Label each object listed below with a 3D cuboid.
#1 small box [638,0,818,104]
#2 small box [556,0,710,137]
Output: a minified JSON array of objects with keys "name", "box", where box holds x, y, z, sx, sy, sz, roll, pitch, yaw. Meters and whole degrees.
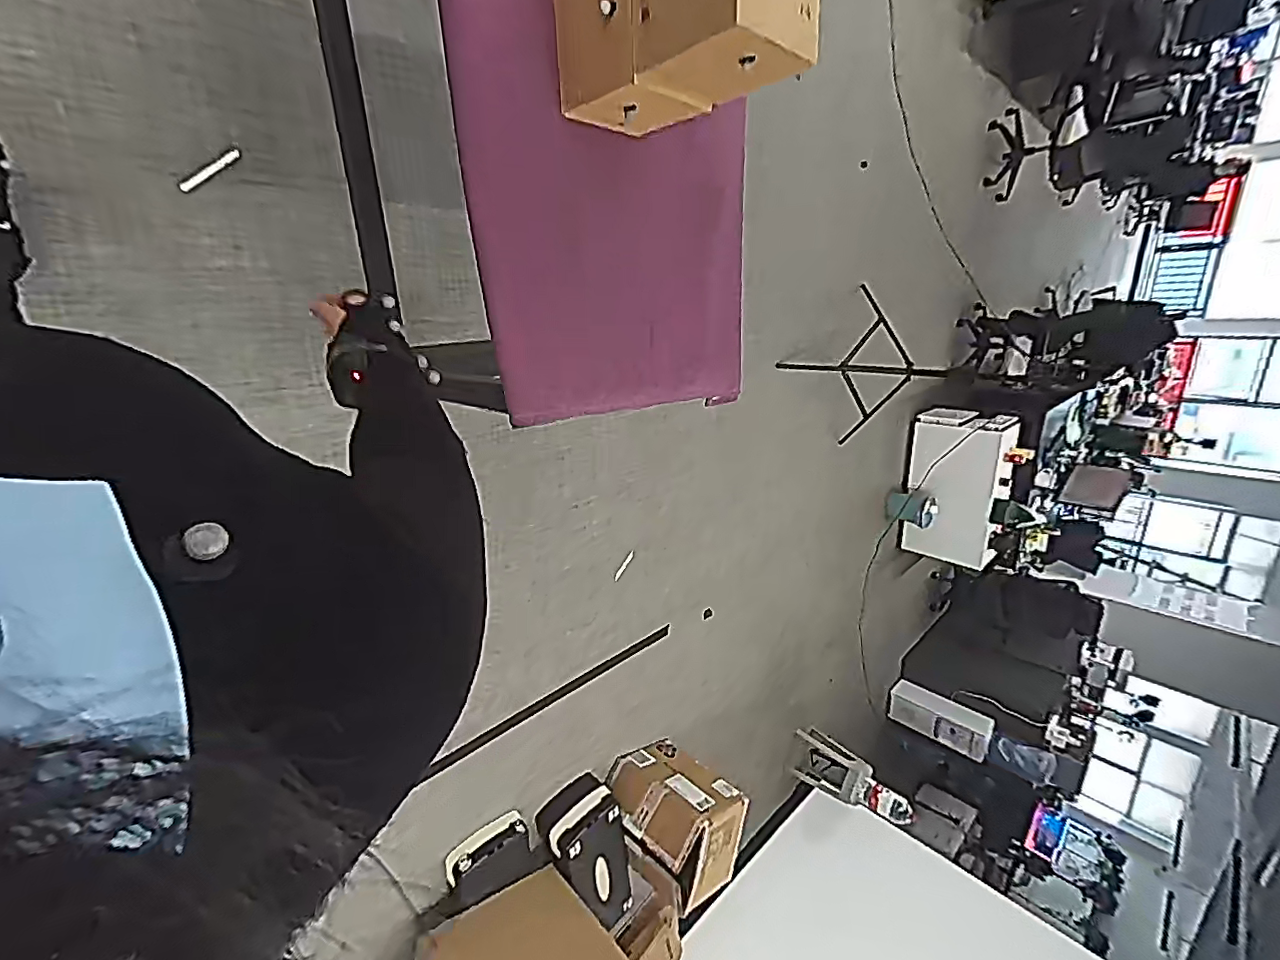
[{"name":"small box","box":[0.110,-0.614,0.694,0.179,0.176,0.168,-17,113,-41]},{"name":"small box","box":[-0.009,-0.638,0.806,0.168,0.176,0.179,-17,113,-41]}]
